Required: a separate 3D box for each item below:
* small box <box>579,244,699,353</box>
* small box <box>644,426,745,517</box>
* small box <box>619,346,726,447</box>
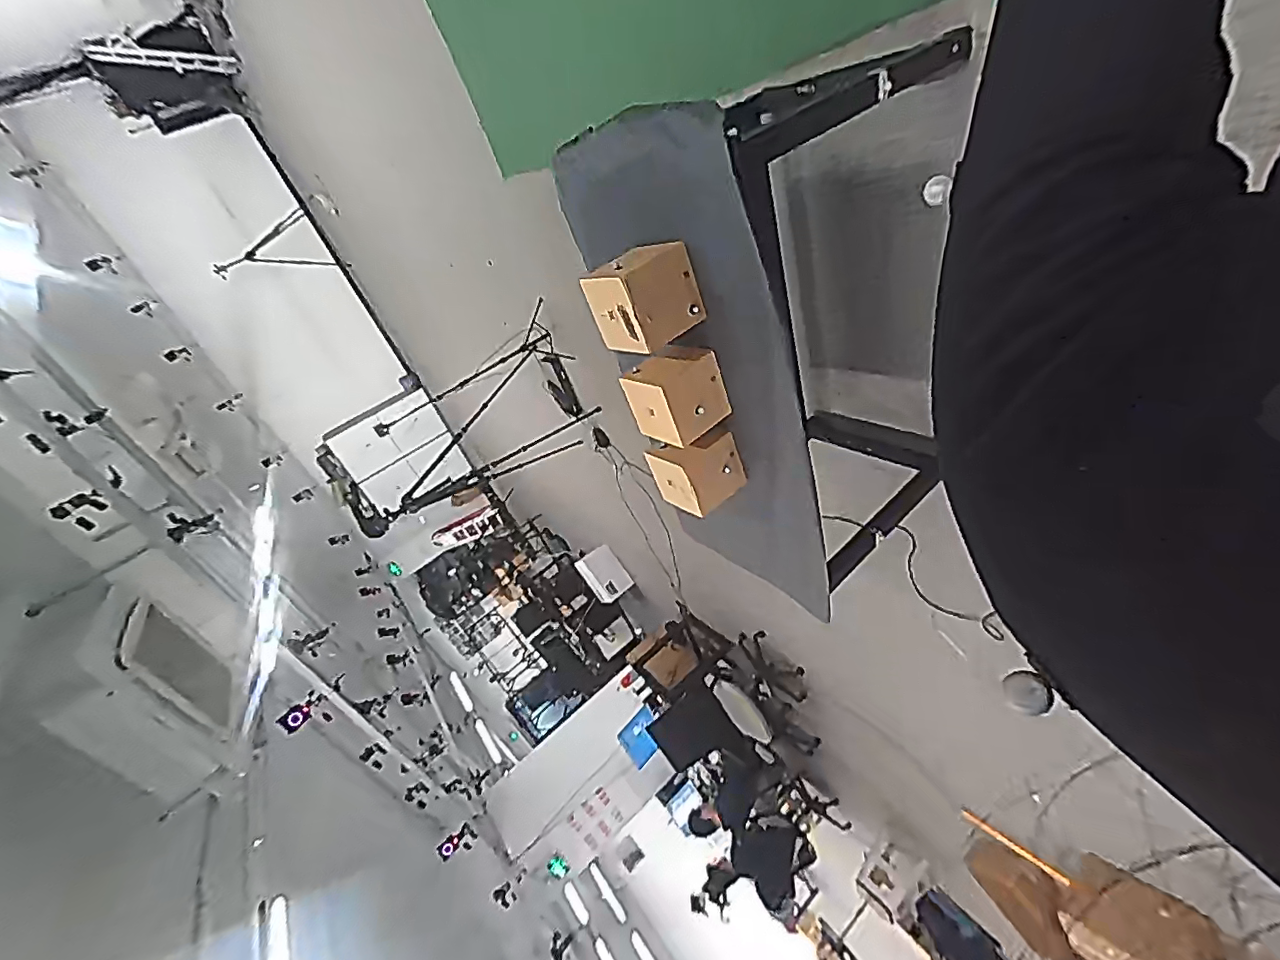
[{"bbox_3d":[0.006,-0.389,1.157,0.179,0.176,0.168,26,147,52],"label":"small box"},{"bbox_3d":[0.146,-0.037,1.425,0.179,0.176,0.168,24,146,52],"label":"small box"},{"bbox_3d":[0.086,-0.205,1.288,0.179,0.176,0.168,26,146,52],"label":"small box"}]
